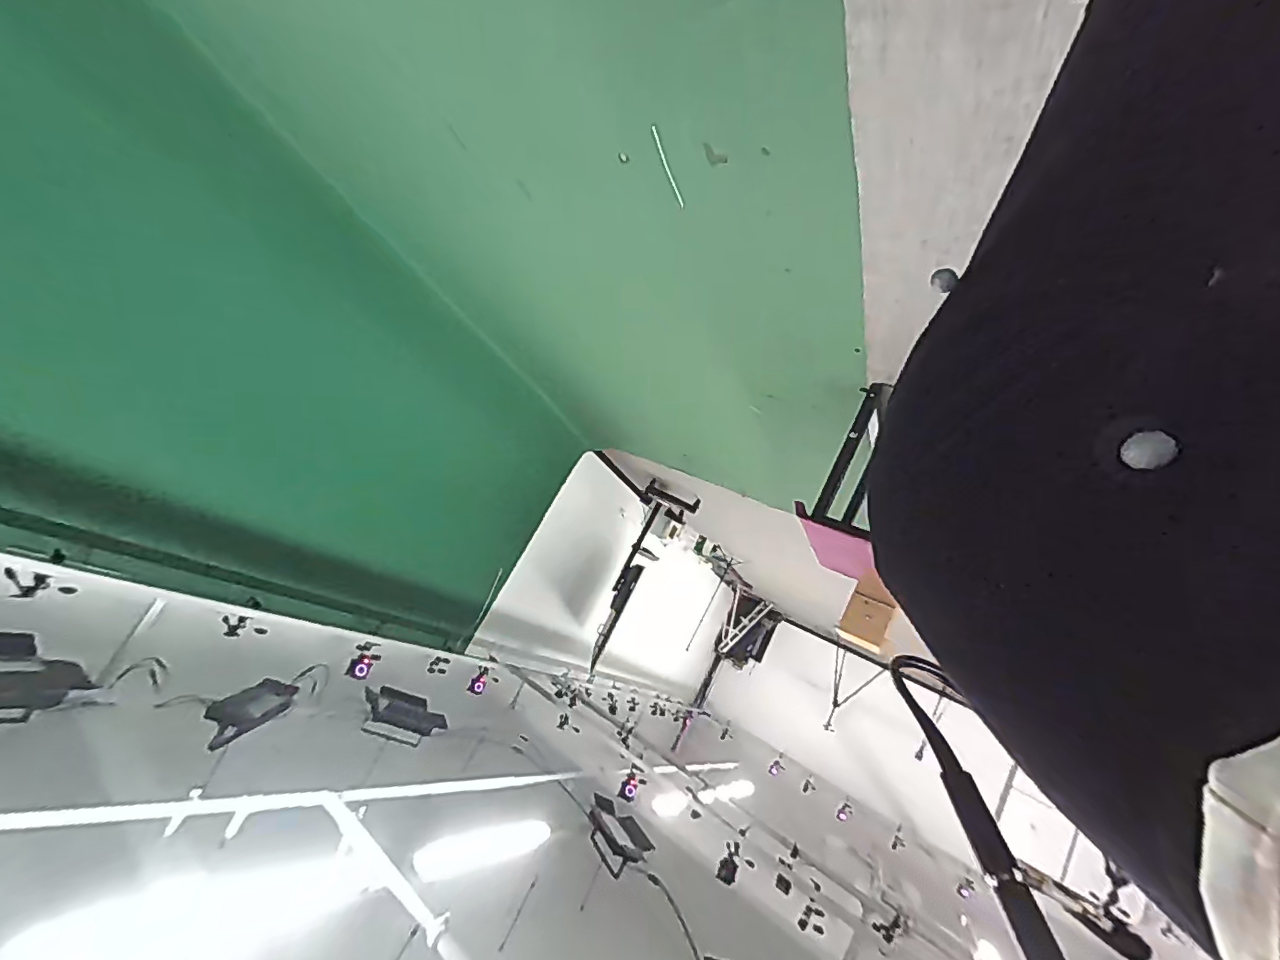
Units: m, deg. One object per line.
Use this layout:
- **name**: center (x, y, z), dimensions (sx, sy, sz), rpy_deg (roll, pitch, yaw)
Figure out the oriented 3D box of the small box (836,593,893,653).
- **small box**: center (0.908, 0.575, 2.184), dimensions (0.168, 0.176, 0.179), rpy_deg (21, 166, 32)
